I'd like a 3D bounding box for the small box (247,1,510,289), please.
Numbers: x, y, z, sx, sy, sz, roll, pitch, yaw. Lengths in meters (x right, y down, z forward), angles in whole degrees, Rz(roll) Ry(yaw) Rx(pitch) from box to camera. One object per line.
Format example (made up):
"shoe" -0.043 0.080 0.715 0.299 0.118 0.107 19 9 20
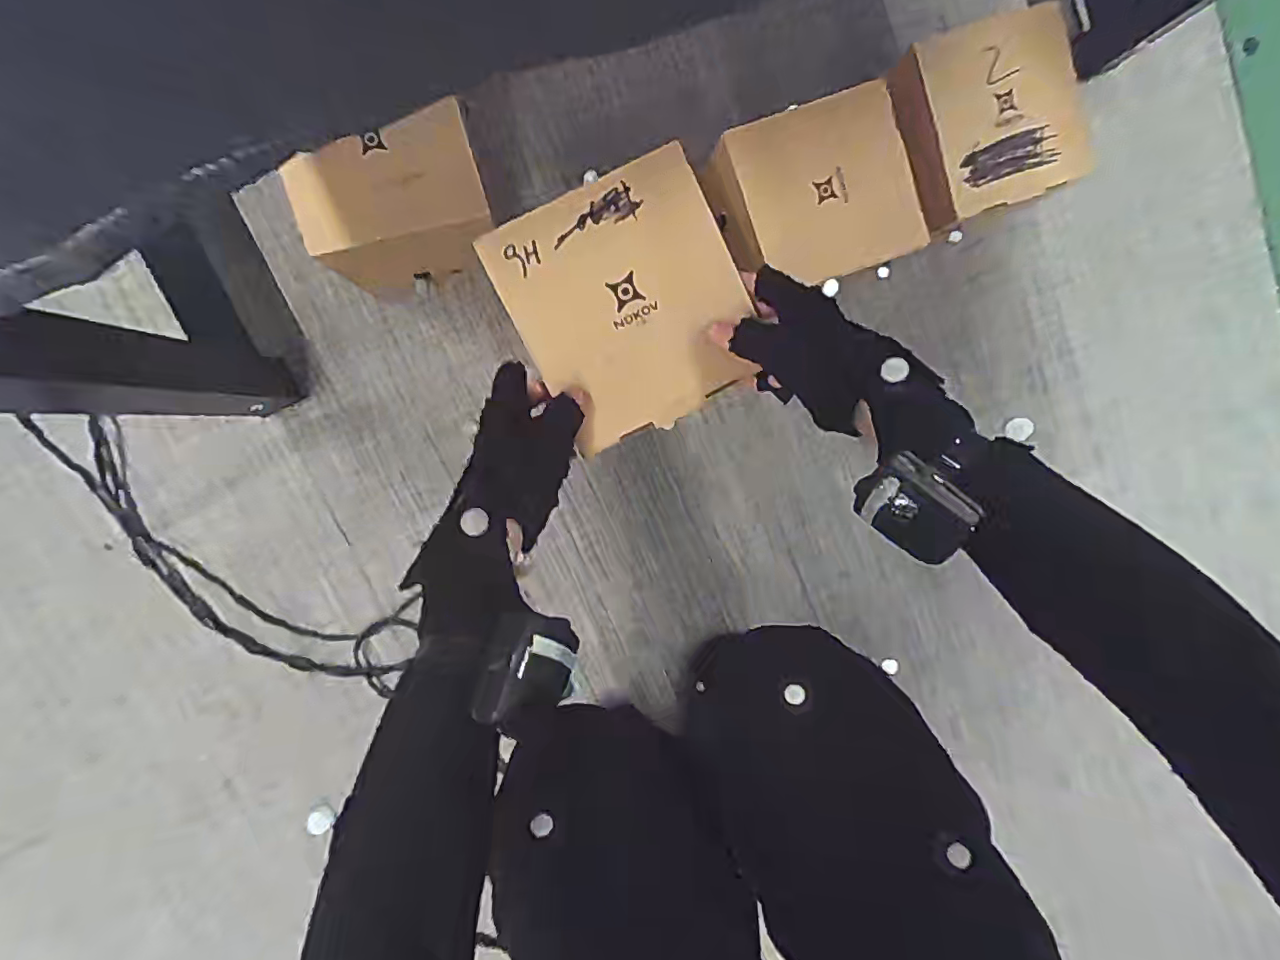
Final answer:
"small box" -0.239 -0.315 0.545 0.168 0.176 0.179 -16 97 -5
